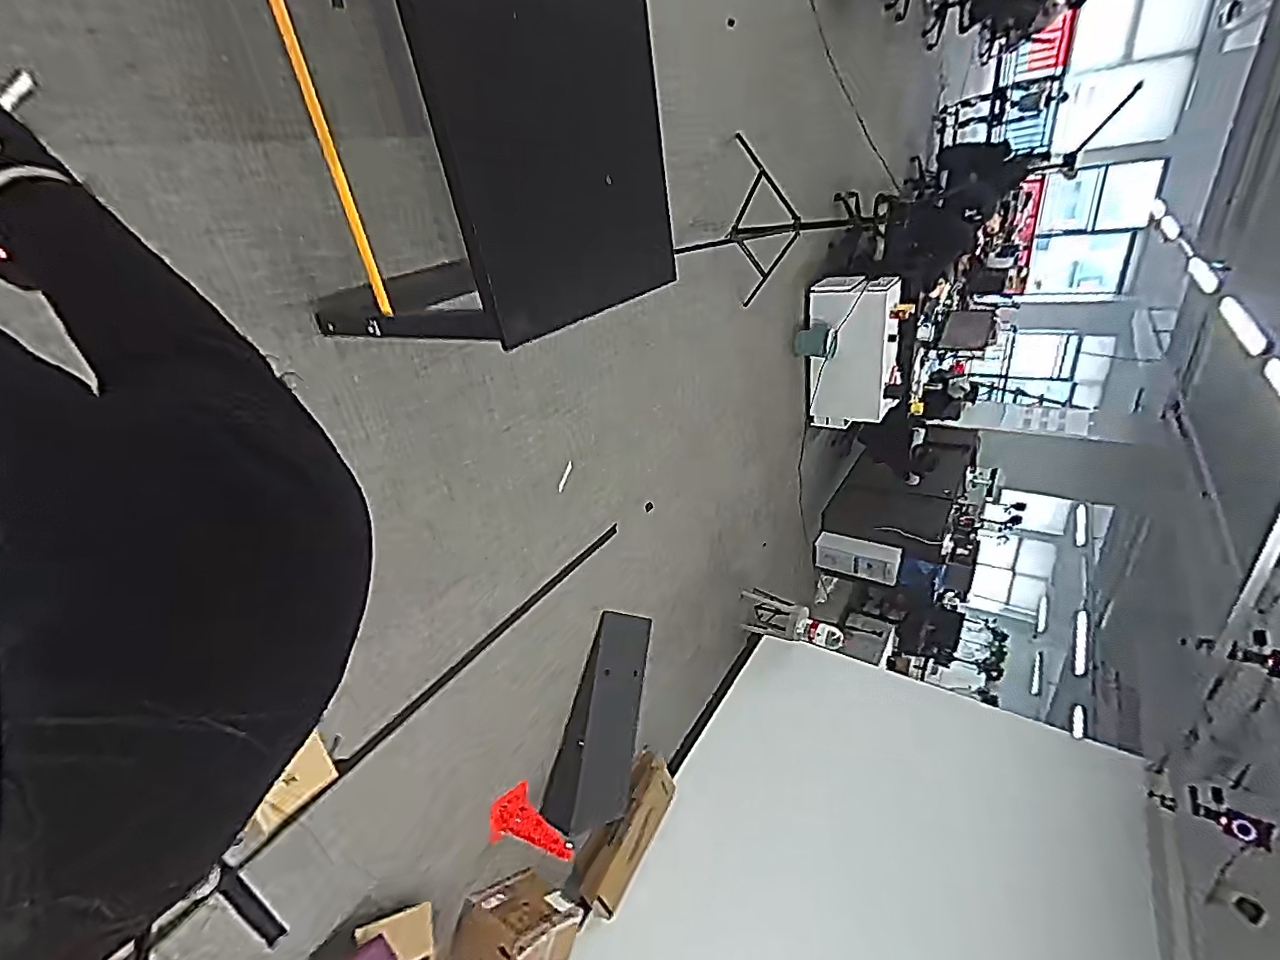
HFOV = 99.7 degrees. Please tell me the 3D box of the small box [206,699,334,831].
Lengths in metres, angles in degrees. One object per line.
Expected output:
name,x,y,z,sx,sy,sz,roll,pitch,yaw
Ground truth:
small box,-0.850,0.646,1.246,0.168,0.176,0.179,-35,127,-47
